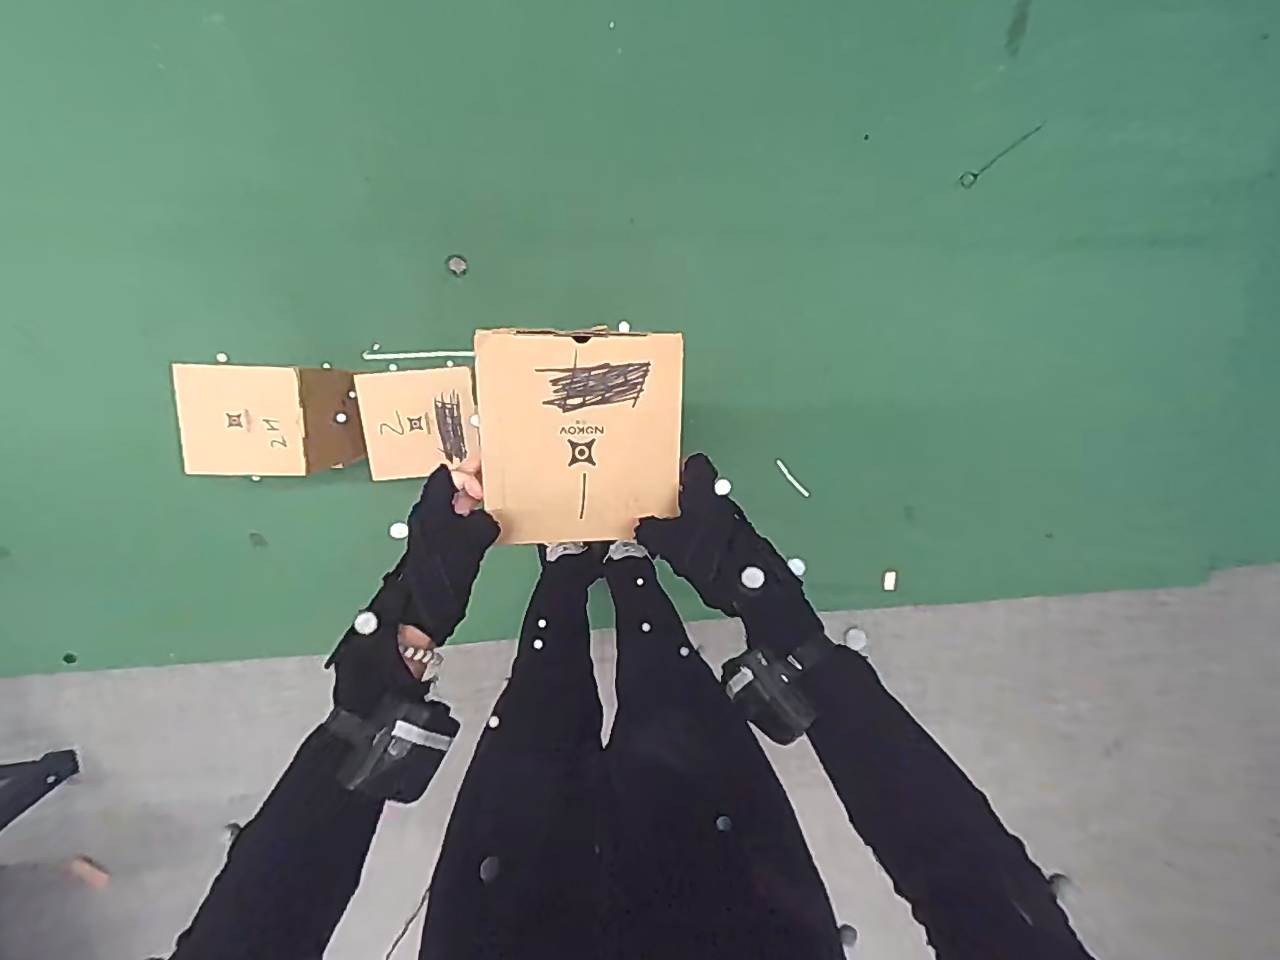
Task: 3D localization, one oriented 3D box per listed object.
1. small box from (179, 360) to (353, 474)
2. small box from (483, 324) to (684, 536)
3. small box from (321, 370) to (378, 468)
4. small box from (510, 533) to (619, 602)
[{"bbox_3d":[-0.600,-0.106,0.891,0.179,0.176,0.168,1,101,-6],"label":"small box"},{"bbox_3d":[-0.058,-0.055,0.528,0.168,0.176,0.179,-1,104,-8],"label":"small box"},{"bbox_3d":[-0.626,-0.127,1.053,0.168,0.176,0.179,2,100,-6],"label":"small box"},{"bbox_3d":[-0.158,0.130,1.174,0.179,0.176,0.168,32,109,4],"label":"small box"}]
